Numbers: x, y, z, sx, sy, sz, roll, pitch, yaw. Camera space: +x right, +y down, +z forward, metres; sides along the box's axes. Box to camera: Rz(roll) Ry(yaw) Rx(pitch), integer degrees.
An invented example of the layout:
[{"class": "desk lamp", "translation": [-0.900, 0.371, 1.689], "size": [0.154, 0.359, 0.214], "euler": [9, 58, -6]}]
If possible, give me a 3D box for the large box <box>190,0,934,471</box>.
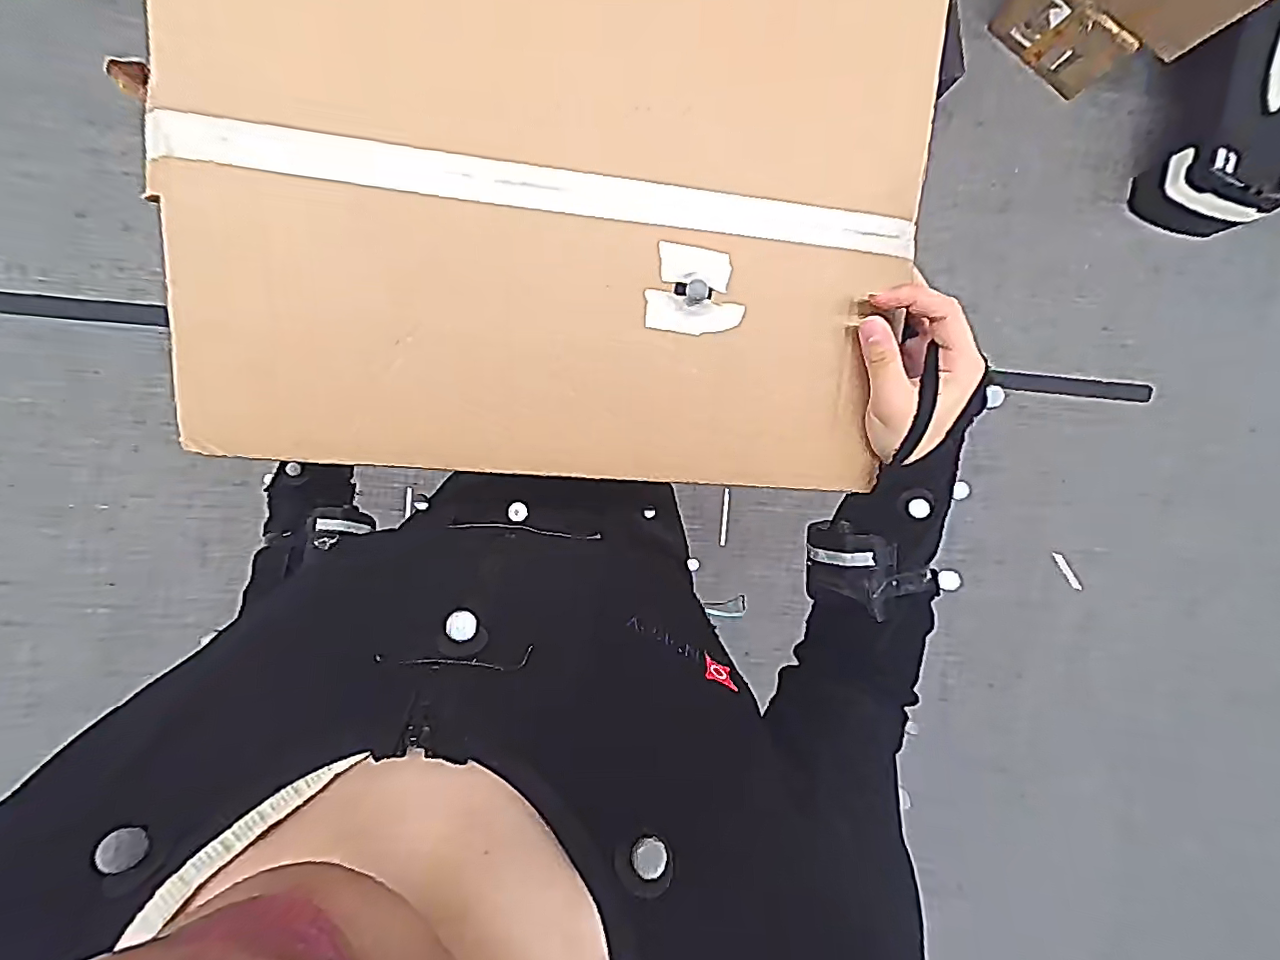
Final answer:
[{"class": "large box", "translation": [-0.056, -0.188, 0.450], "size": [0.408, 0.320, 0.320], "euler": [3, 100, -12]}]
